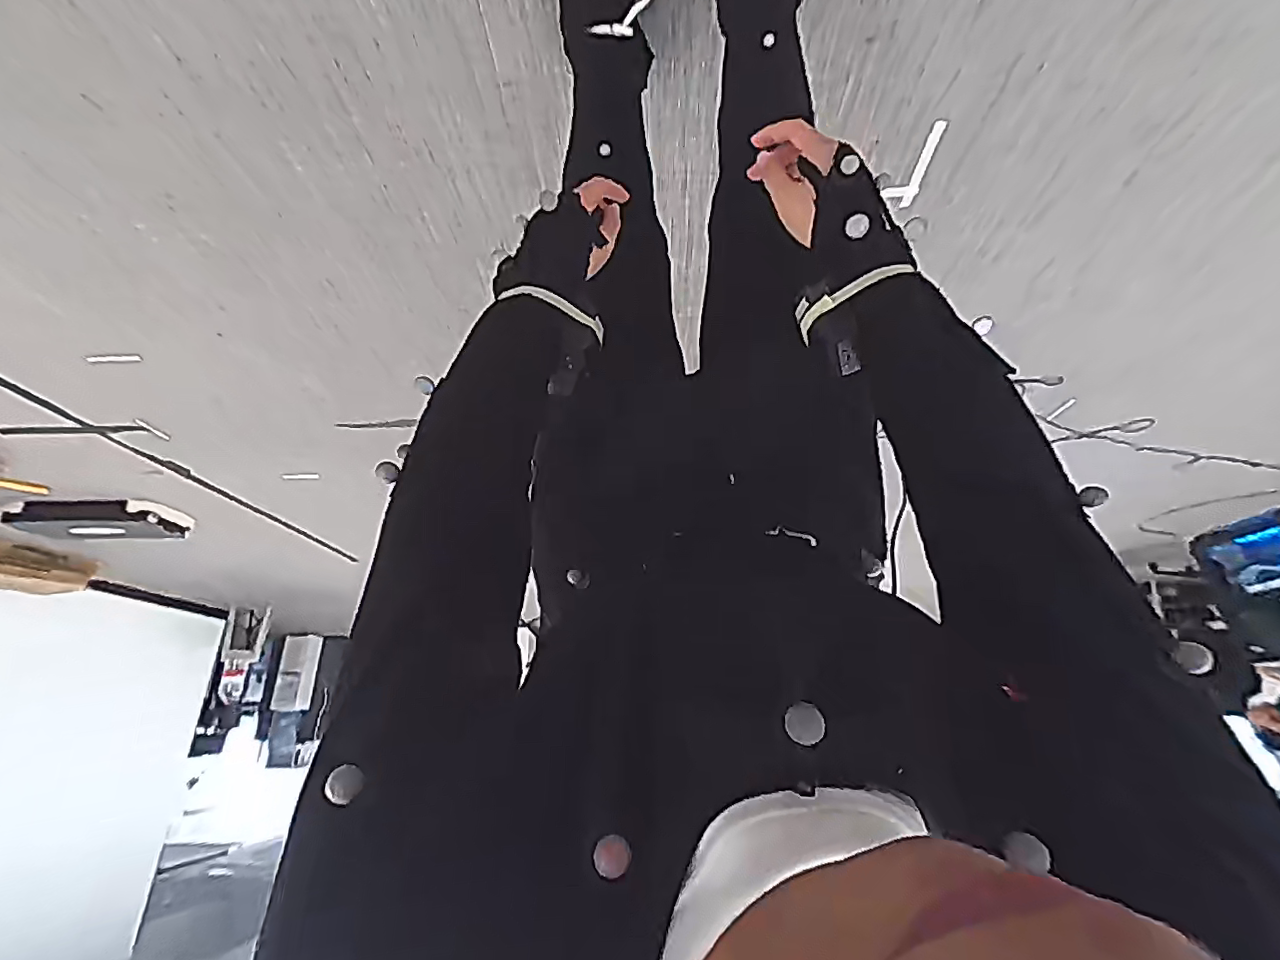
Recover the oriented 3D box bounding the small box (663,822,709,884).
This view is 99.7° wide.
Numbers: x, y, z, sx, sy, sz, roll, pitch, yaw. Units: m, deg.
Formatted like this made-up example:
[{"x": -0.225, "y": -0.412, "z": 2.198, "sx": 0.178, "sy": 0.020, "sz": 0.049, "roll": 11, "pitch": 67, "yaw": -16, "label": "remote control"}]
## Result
[{"x": 0.181, "y": 1.476, "z": 2.147, "sx": 0.168, "sy": 0.176, "sz": 0.179, "roll": -4, "pitch": 157, "yaw": 3, "label": "small box"}]
